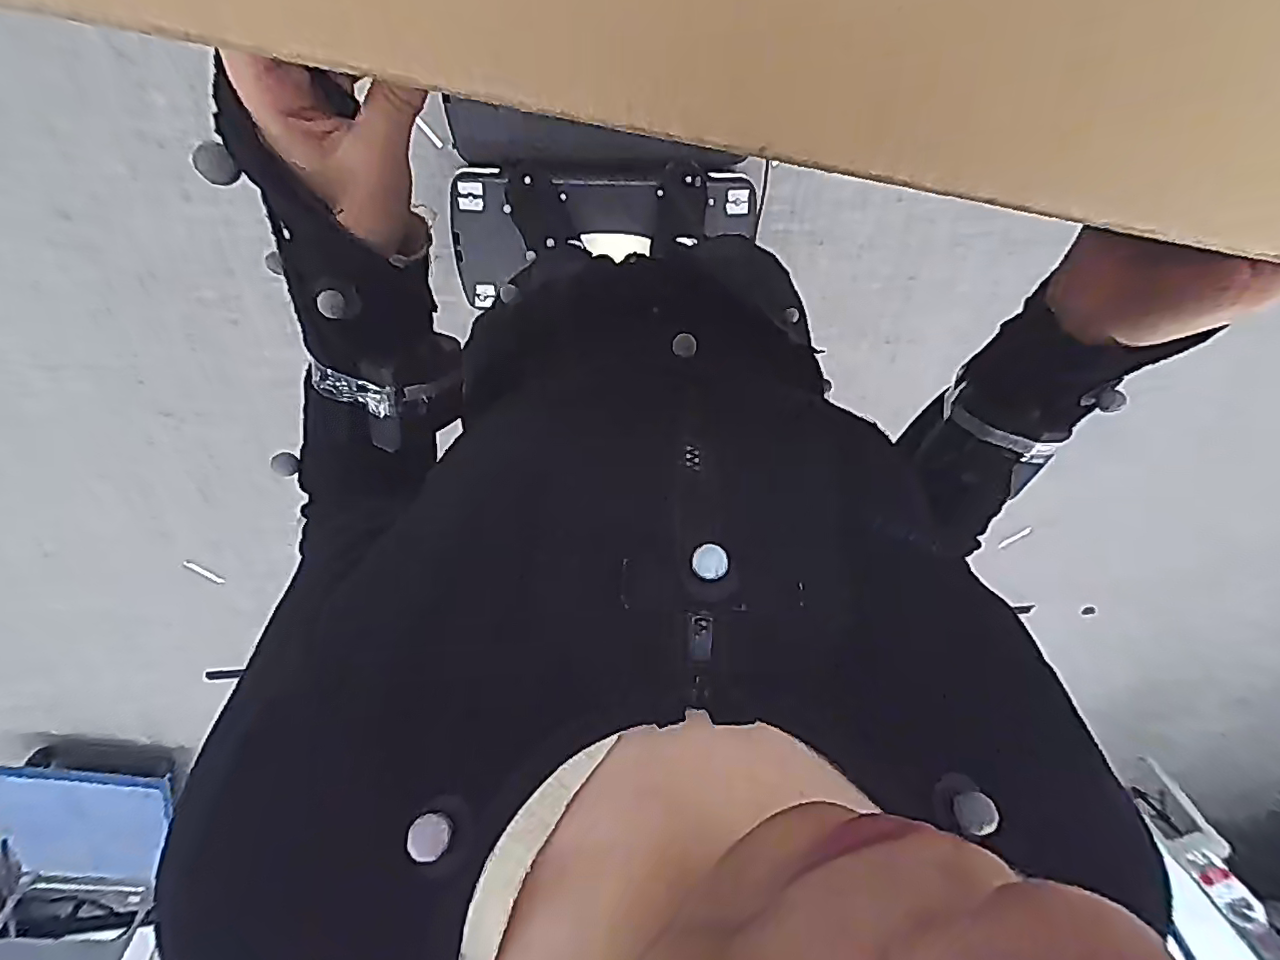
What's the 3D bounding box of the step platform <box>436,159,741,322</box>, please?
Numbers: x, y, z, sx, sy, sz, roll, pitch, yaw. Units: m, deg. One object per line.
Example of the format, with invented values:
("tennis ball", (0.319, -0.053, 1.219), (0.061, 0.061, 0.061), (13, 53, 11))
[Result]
("step platform", (-0.113, -0.550, 1.265), (0.684, 0.204, 0.286), (3, 123, -7))
